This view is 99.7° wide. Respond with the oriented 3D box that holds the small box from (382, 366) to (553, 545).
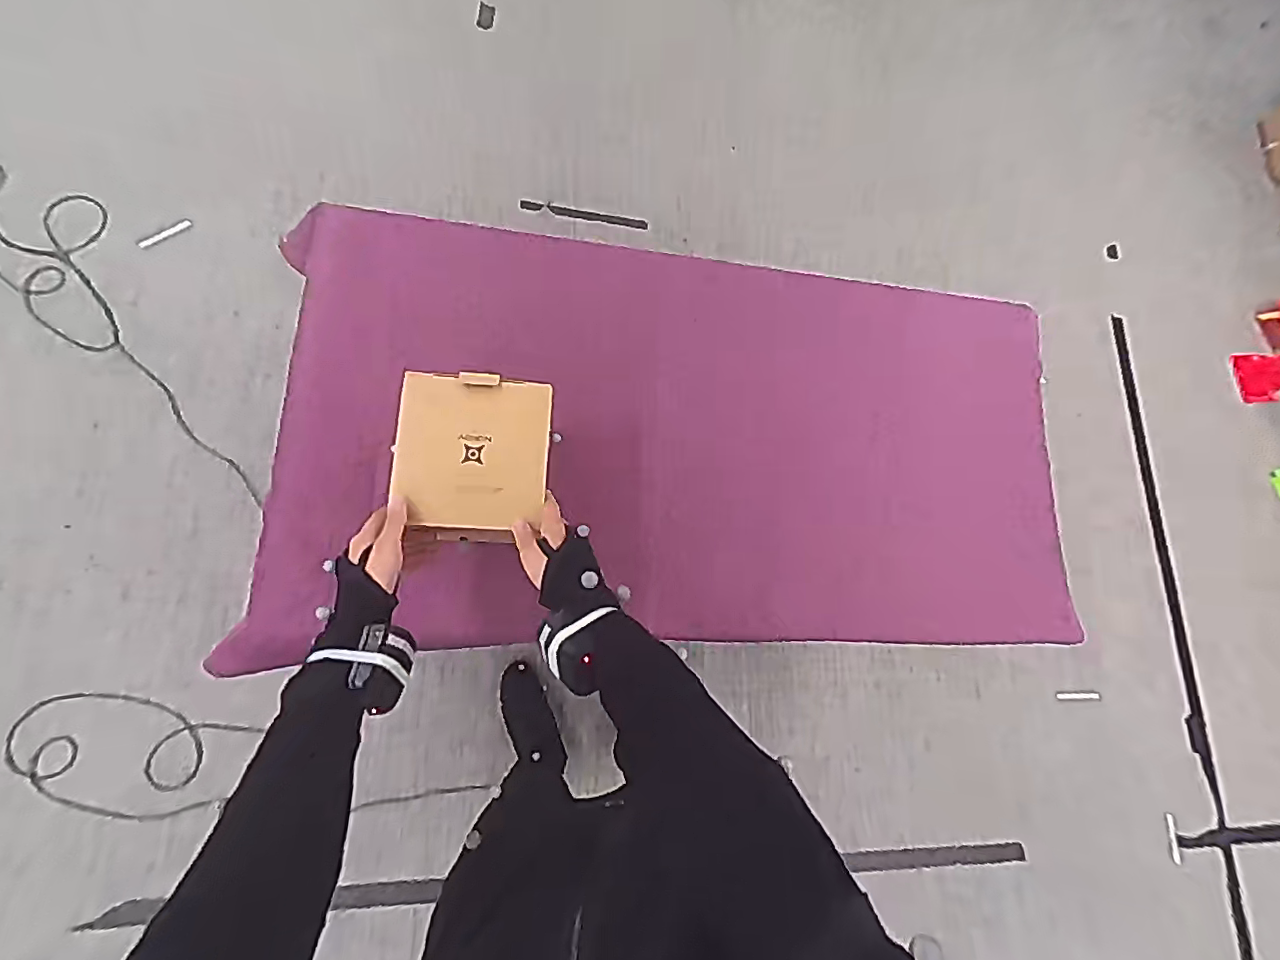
[{"bbox_3d":[-0.200,-0.019,0.668,0.168,0.176,0.179,5,78,-10],"label":"small box"}]
